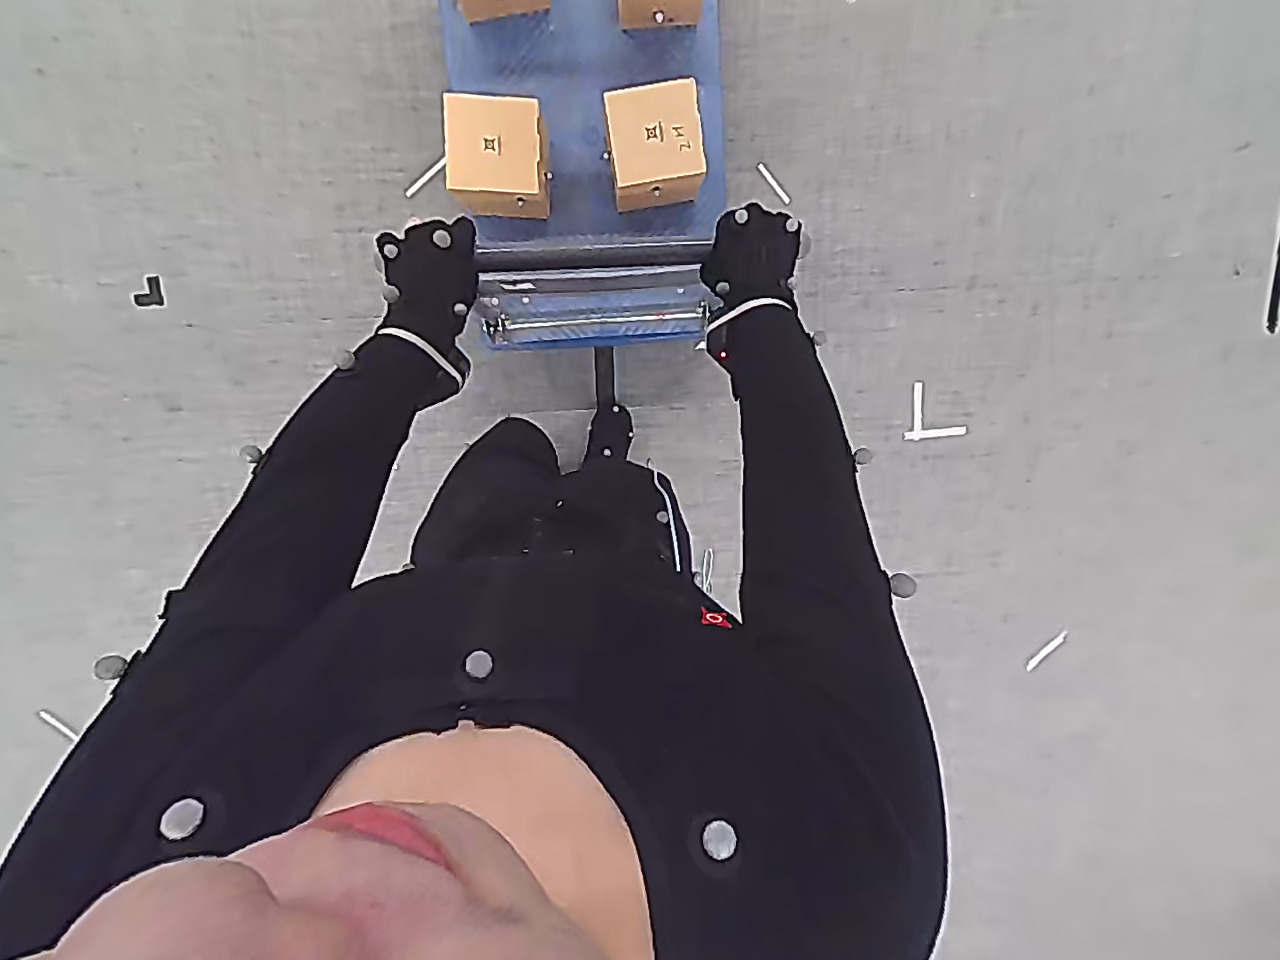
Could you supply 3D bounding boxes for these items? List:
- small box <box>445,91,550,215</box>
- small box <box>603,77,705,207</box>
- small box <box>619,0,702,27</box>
[{"bbox_3d":[-0.280,-0.649,1.092,0.179,0.176,0.168,1,101,-4],"label":"small box"},{"bbox_3d":[0.026,-0.674,1.099,0.179,0.176,0.168,-9,102,0],"label":"small box"},{"bbox_3d":[0.037,-1.016,1.029,0.168,0.176,0.179,-5,103,-2],"label":"small box"}]
